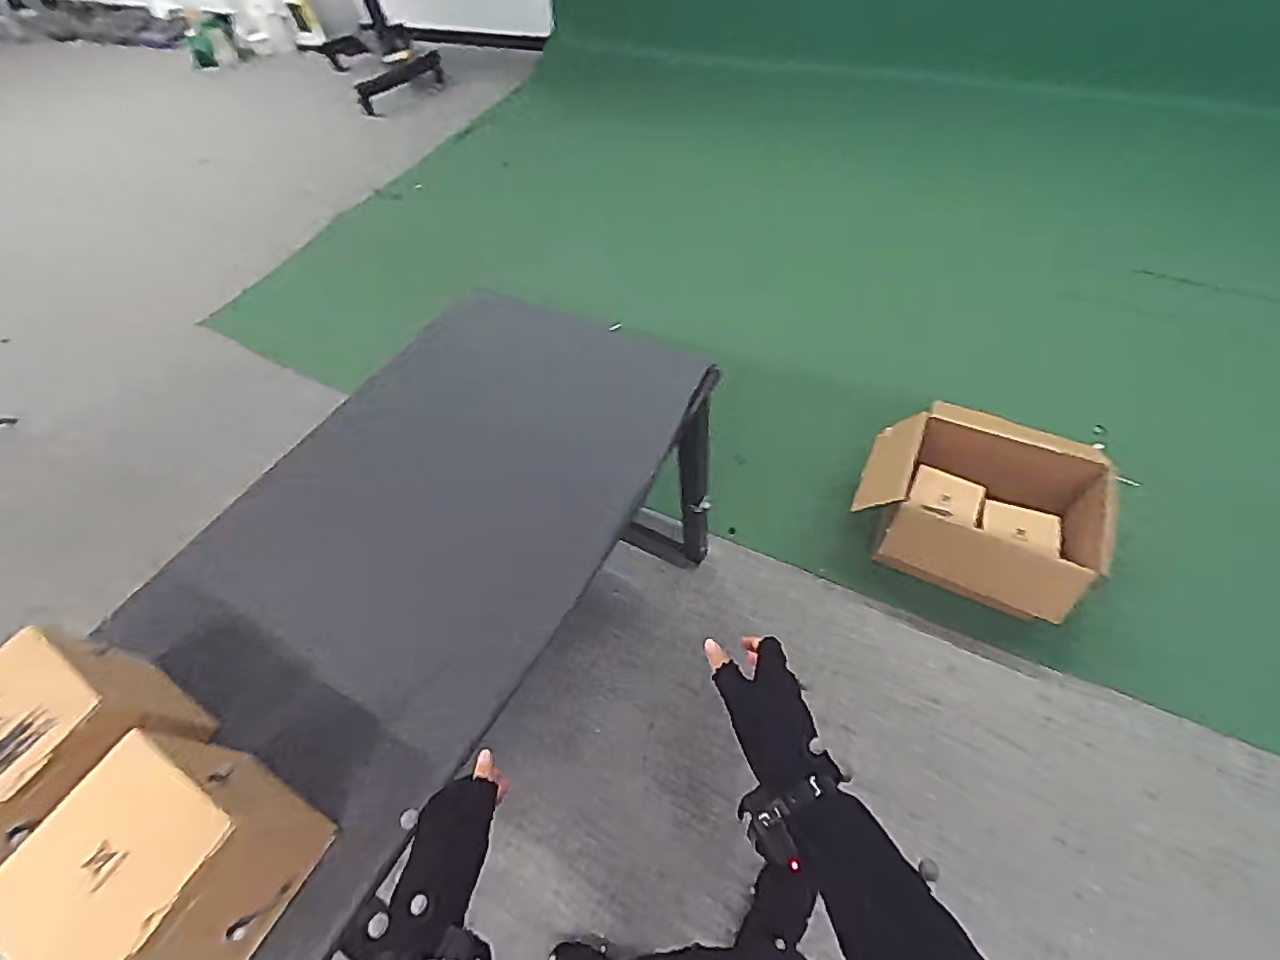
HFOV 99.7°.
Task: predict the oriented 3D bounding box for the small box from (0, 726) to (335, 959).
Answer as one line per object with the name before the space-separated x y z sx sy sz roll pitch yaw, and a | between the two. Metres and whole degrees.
small box | -0.471 0.390 0.558 0.179 0.176 0.168 21 60 21
